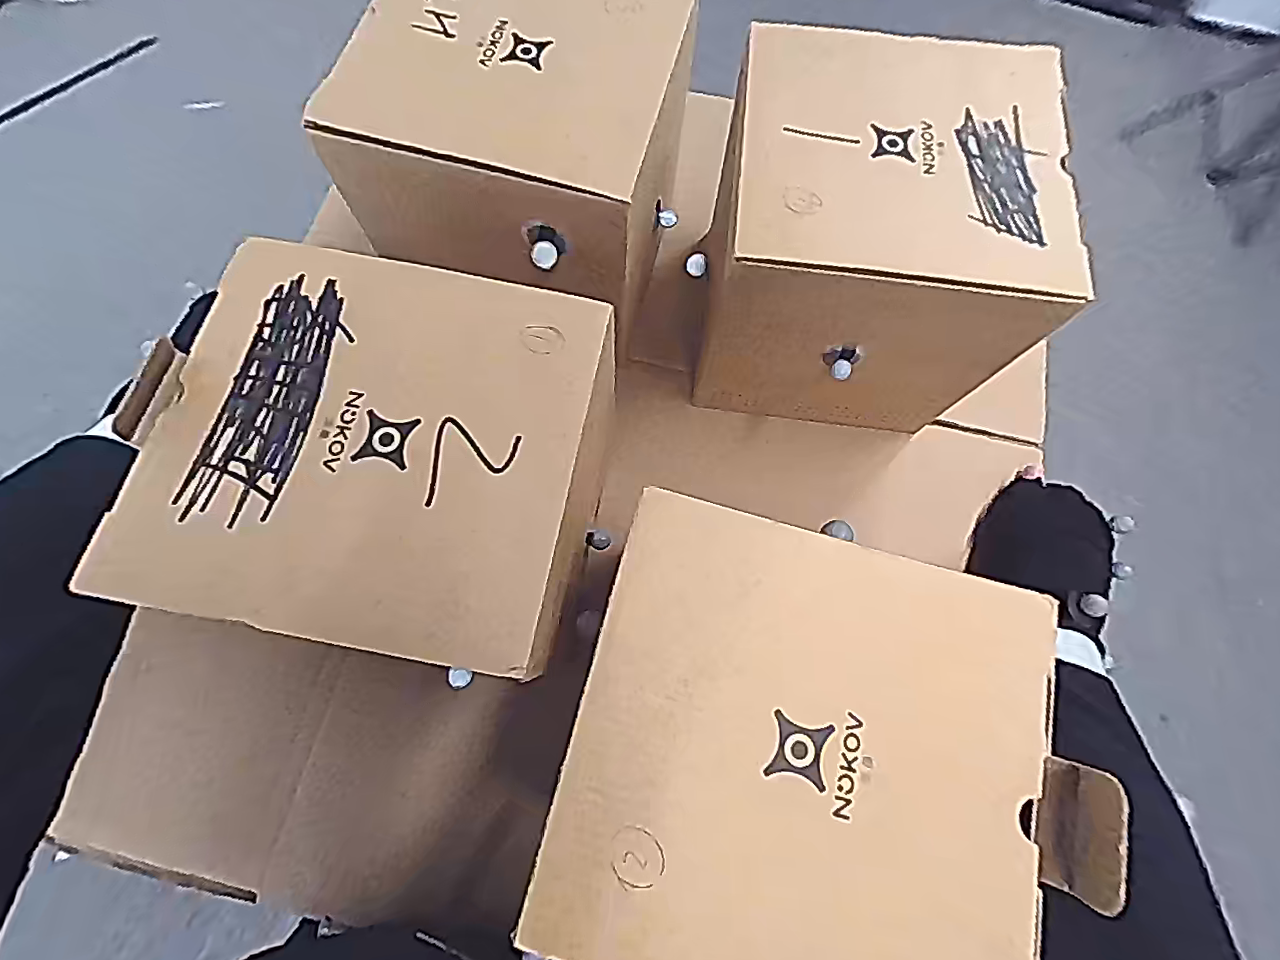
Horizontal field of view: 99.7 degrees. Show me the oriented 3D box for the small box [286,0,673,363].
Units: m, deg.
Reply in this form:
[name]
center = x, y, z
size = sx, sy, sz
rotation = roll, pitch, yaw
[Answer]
[small box]
center = -0.086, -0.203, 0.378
size = 0.179, 0.176, 0.168
rotation = 13, 72, 2
